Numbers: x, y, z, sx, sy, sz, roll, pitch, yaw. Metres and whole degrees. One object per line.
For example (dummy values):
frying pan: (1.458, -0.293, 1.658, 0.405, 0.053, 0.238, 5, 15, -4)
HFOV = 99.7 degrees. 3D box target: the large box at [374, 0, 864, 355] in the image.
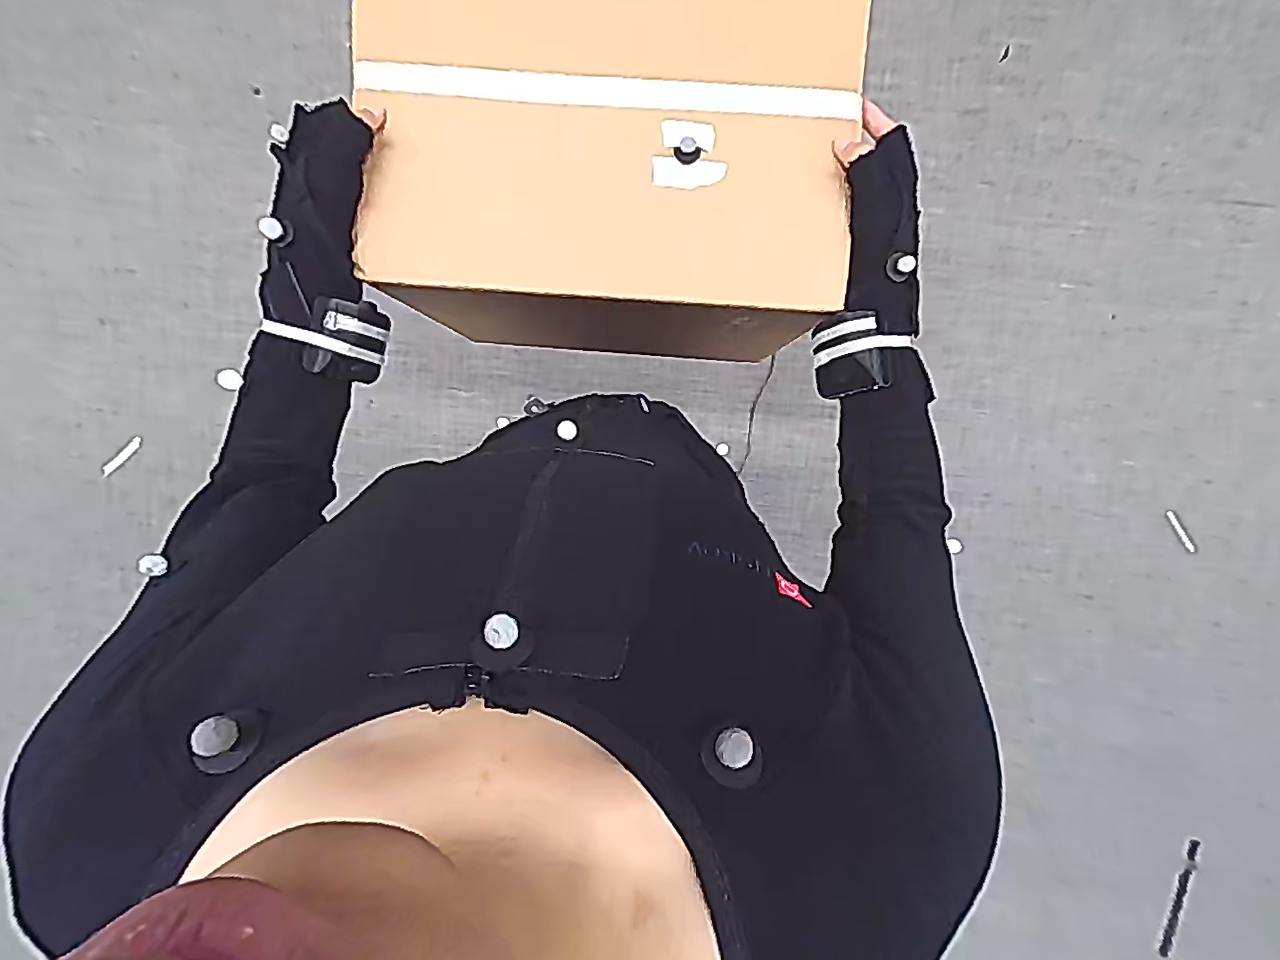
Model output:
large box: (-0.021, -0.325, 0.595, 0.408, 0.320, 0.320, 4, 95, -1)
